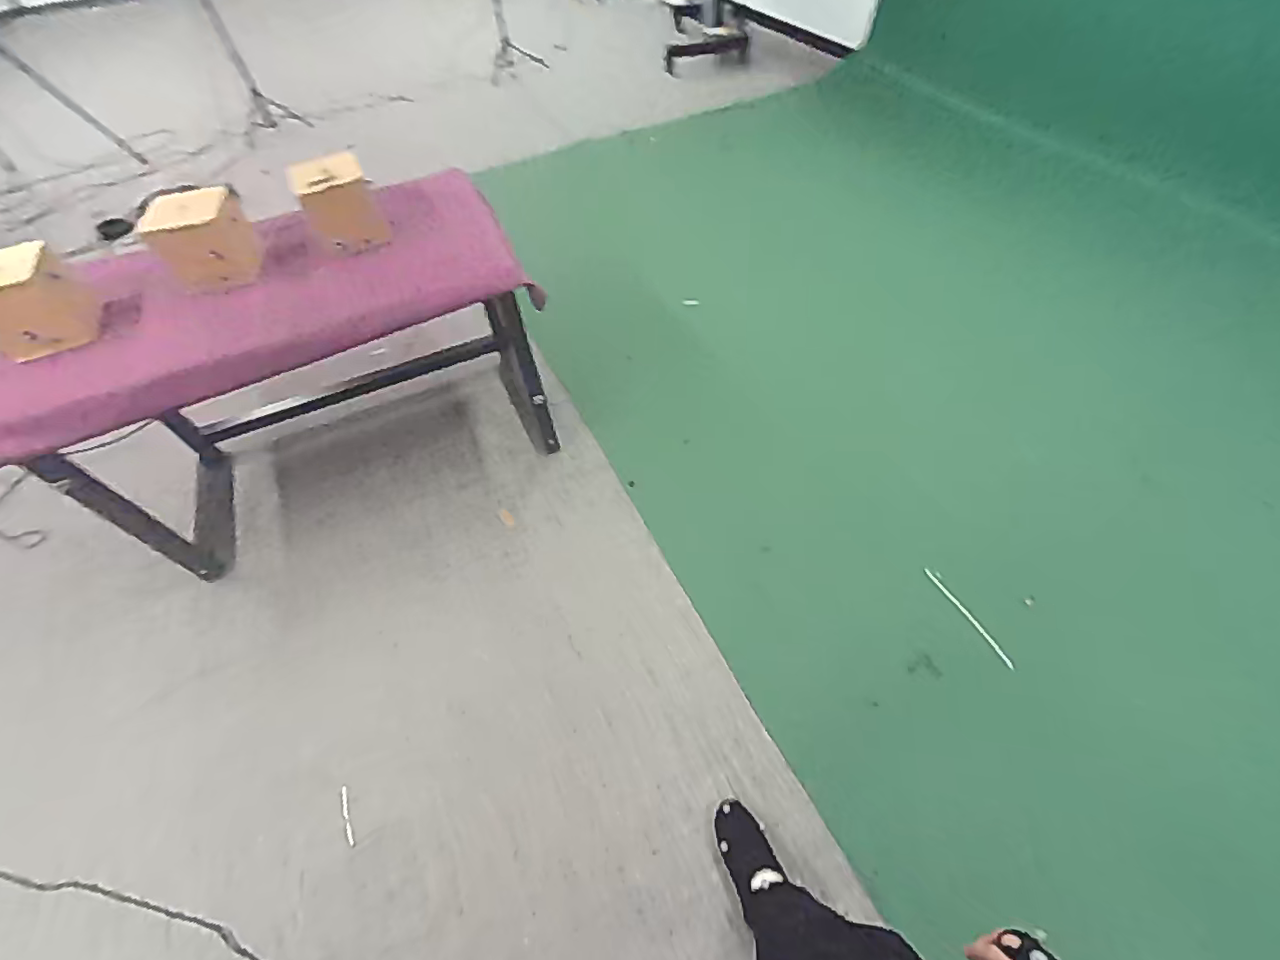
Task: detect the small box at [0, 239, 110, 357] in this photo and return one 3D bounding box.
[{"bbox_3d":[-1.369,-0.412,1.230,0.168,0.176,0.179,-22,56,-13],"label":"small box"}]

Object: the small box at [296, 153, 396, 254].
[{"bbox_3d":[-0.760,-0.713,1.410,0.168,0.176,0.179,-23,55,-13],"label":"small box"}]

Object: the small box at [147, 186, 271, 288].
[{"bbox_3d":[-1.058,-0.596,1.346,0.168,0.176,0.179,-13,54,-7],"label":"small box"}]
